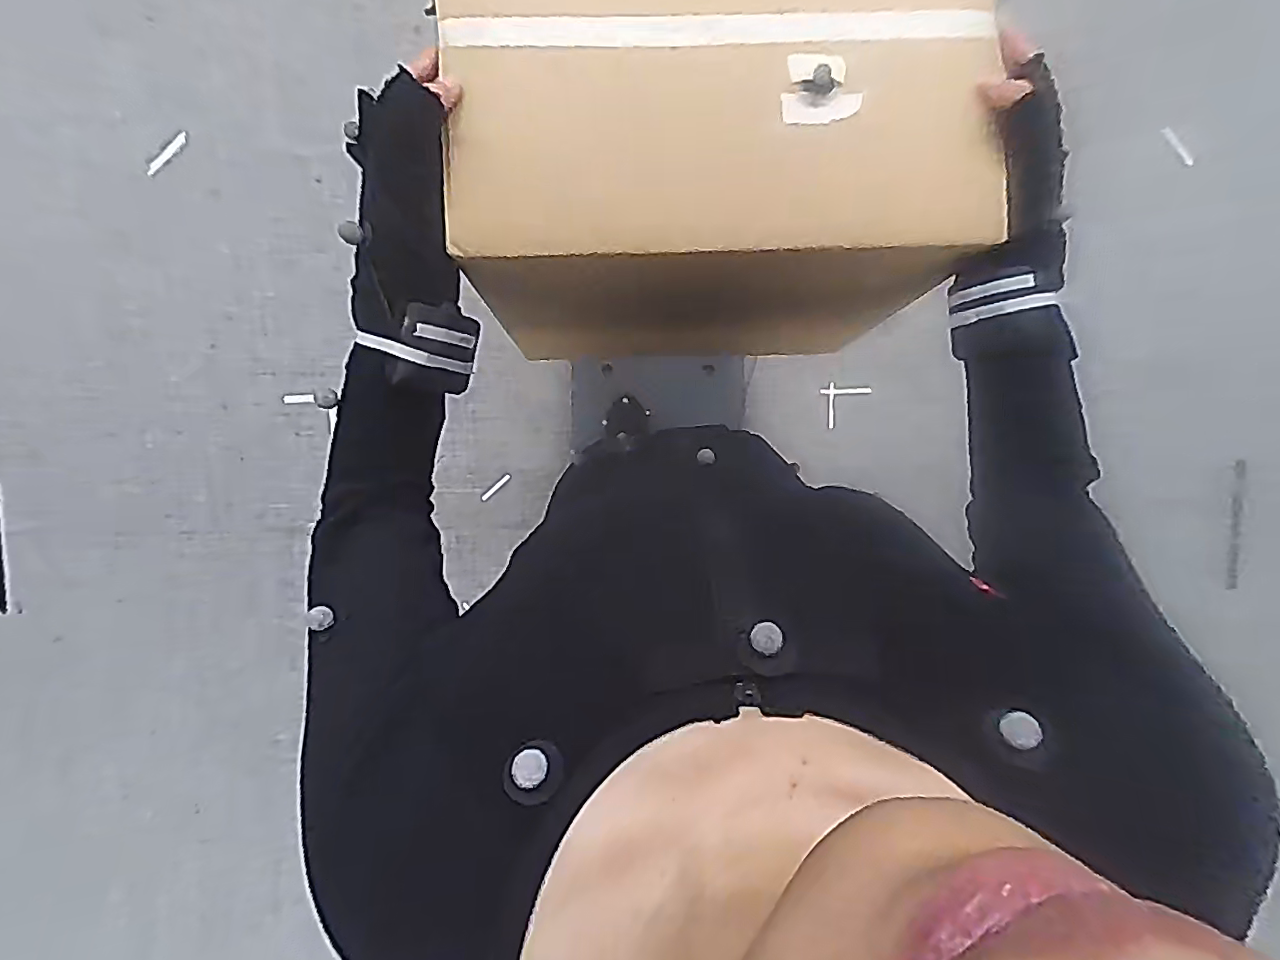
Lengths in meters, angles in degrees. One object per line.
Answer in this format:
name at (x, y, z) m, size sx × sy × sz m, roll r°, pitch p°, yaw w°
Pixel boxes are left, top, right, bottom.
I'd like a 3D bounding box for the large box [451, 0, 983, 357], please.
large box at (0.051, -0.325, 0.559) m, size 0.408 × 0.320 × 0.320 m, roll -2°, pitch 89°, yaw -2°
